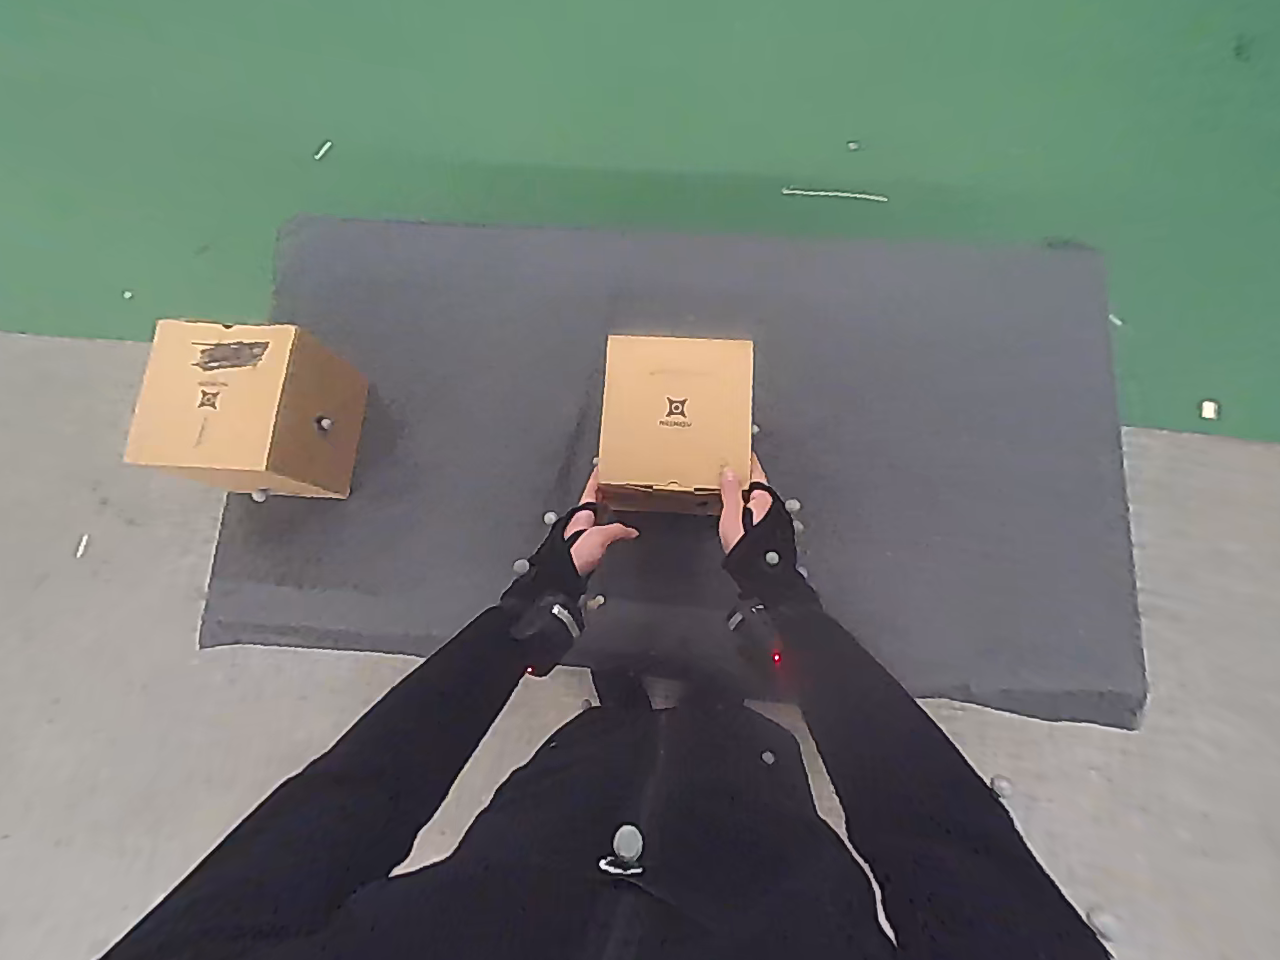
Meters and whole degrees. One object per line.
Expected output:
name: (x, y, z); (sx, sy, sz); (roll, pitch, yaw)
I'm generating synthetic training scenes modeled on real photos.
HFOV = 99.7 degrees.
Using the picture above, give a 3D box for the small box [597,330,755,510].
small box: (0.044, -0.062, 0.659); (0.168, 0.176, 0.179); (2, 77, 2)

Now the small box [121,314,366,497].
small box: (-0.473, -0.084, 0.678); (0.168, 0.176, 0.179); (3, 78, 3)
